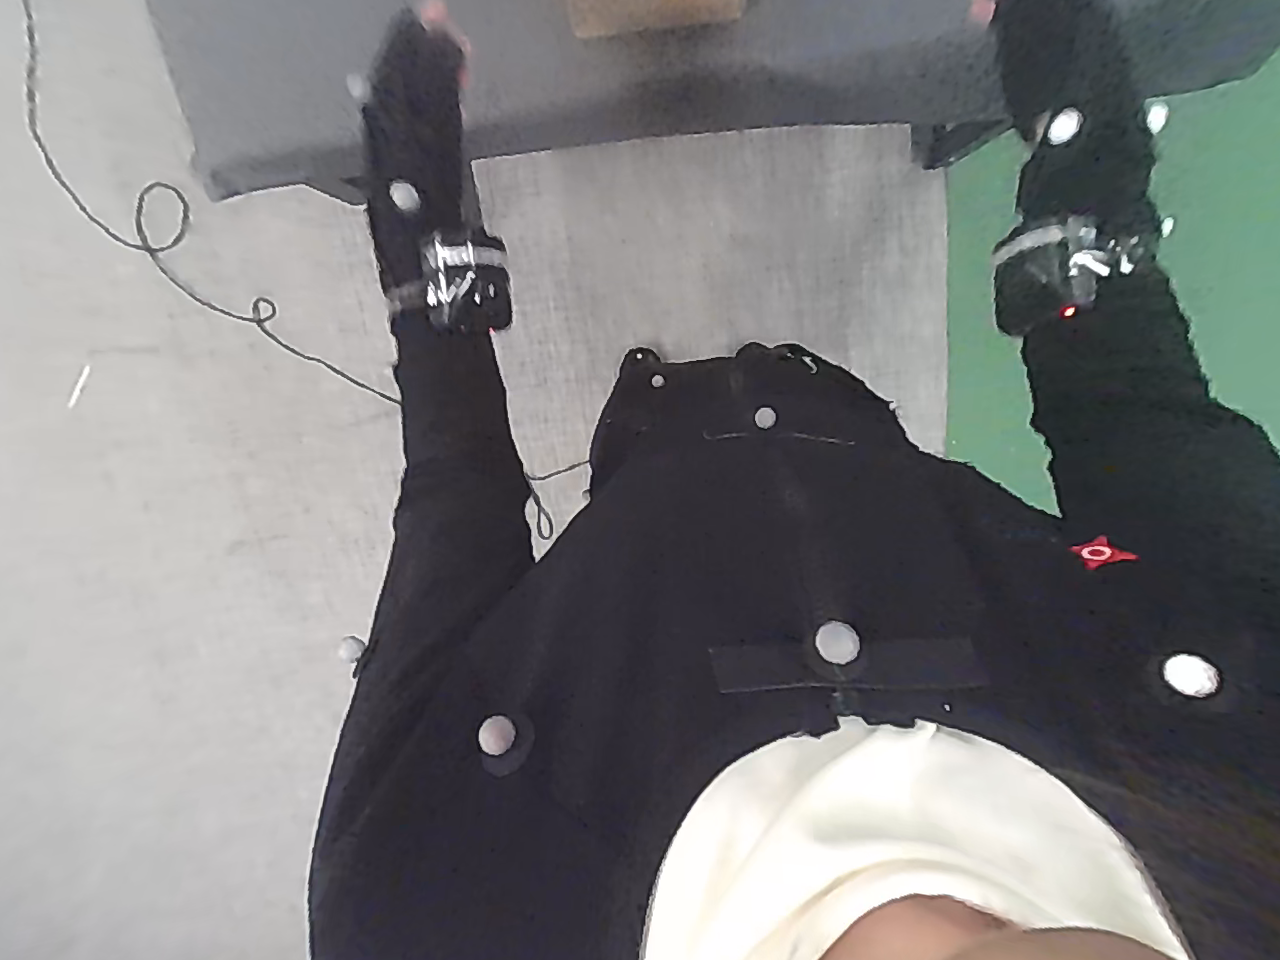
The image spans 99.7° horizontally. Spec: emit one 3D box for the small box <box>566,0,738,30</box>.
[{"bbox_3d":[0.007,-0.533,0.469,0.179,0.176,0.168,-4,103,2],"label":"small box"}]
